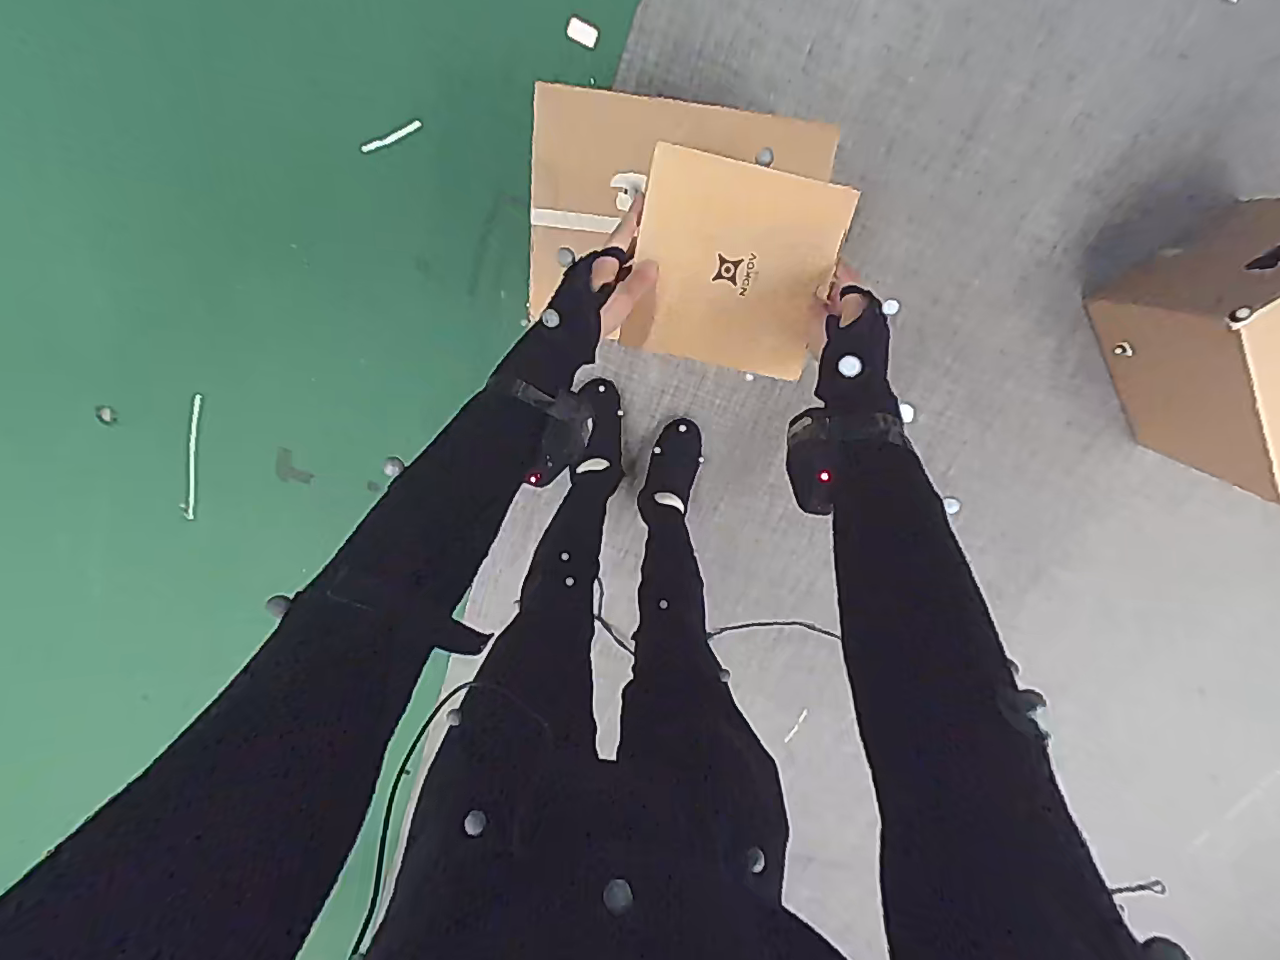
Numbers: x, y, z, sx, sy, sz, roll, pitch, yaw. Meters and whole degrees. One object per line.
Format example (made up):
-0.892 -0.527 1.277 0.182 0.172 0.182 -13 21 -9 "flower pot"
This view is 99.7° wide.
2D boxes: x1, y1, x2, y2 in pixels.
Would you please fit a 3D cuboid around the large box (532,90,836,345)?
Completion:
0.052 -0.407 0.900 0.408 0.320 0.320 6 113 -2 "large box"

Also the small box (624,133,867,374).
0.085 -0.219 0.539 0.179 0.176 0.168 10 114 -6 "small box"
